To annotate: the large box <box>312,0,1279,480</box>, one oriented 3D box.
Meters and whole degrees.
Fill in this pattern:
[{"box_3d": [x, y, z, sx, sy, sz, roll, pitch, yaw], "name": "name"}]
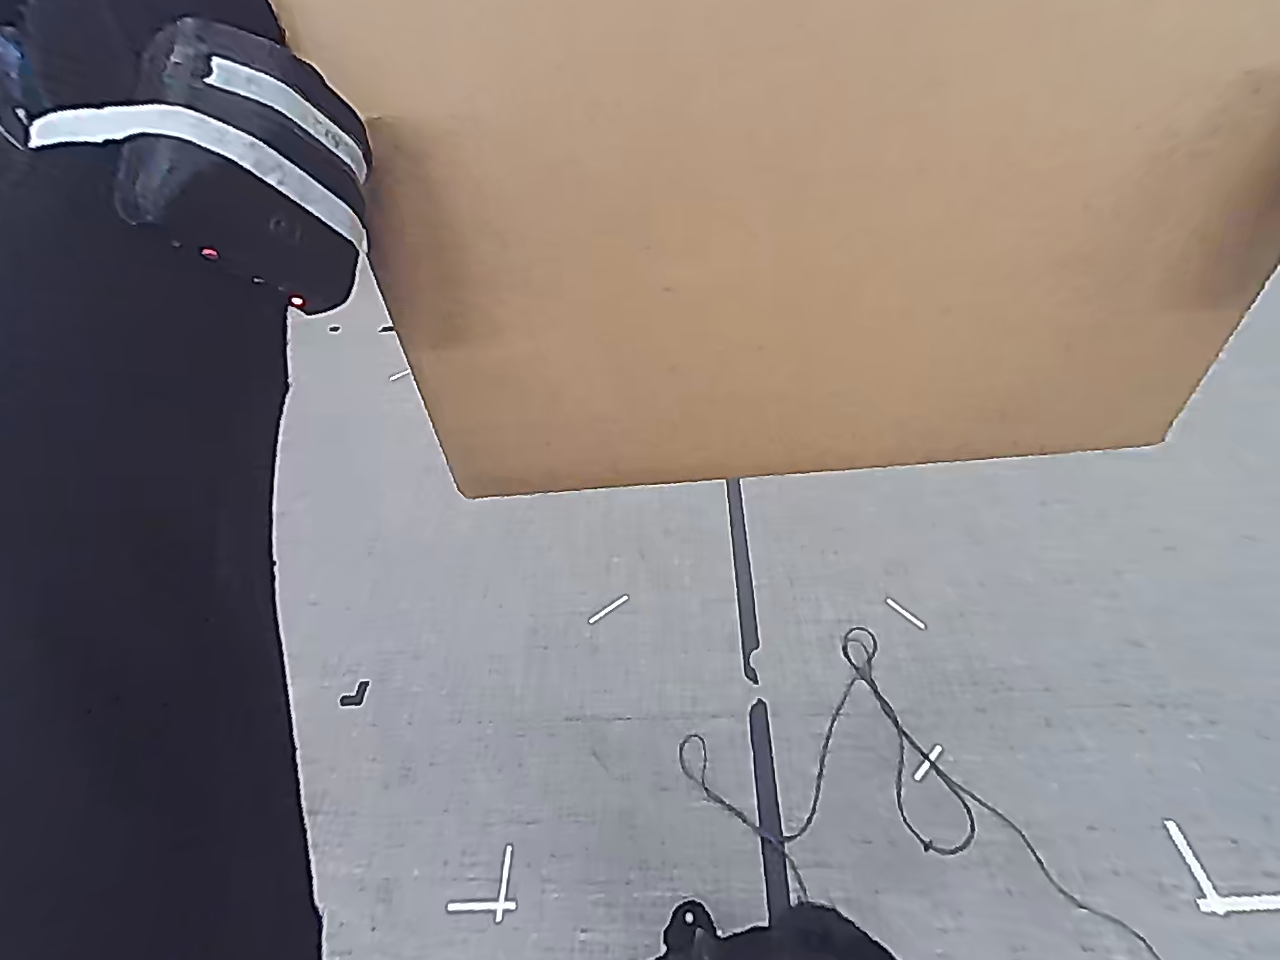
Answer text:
[{"box_3d": [0.075, -0.223, 0.346, 0.408, 0.320, 0.320, -4, 40, 0], "name": "large box"}]
